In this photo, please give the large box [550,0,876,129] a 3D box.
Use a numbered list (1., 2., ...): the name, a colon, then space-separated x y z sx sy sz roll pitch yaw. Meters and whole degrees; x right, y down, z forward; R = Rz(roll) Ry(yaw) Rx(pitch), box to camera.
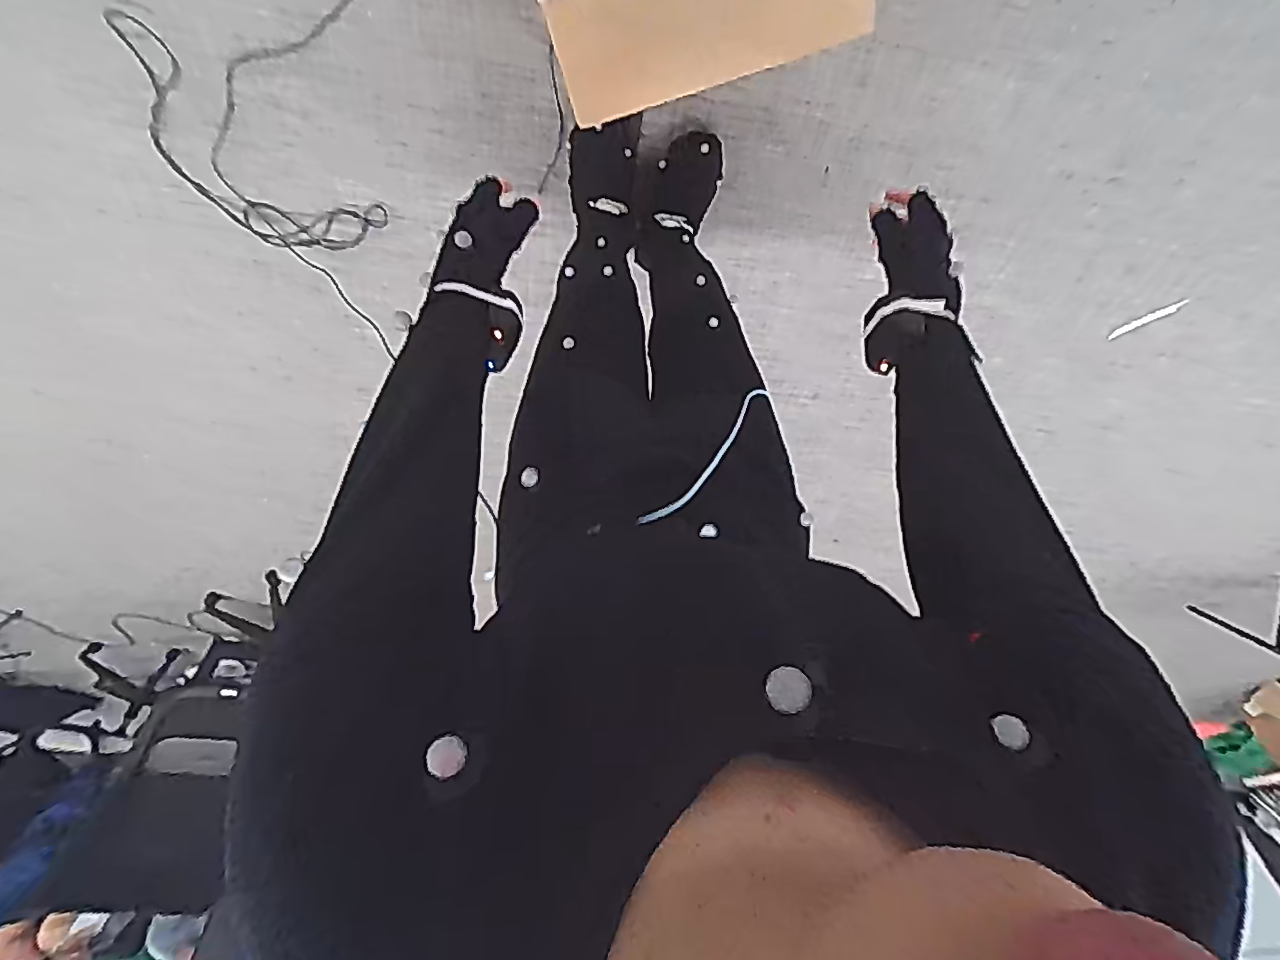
1. large box: 0.071 -0.748 0.737 0.408 0.320 0.320 -11 137 9
